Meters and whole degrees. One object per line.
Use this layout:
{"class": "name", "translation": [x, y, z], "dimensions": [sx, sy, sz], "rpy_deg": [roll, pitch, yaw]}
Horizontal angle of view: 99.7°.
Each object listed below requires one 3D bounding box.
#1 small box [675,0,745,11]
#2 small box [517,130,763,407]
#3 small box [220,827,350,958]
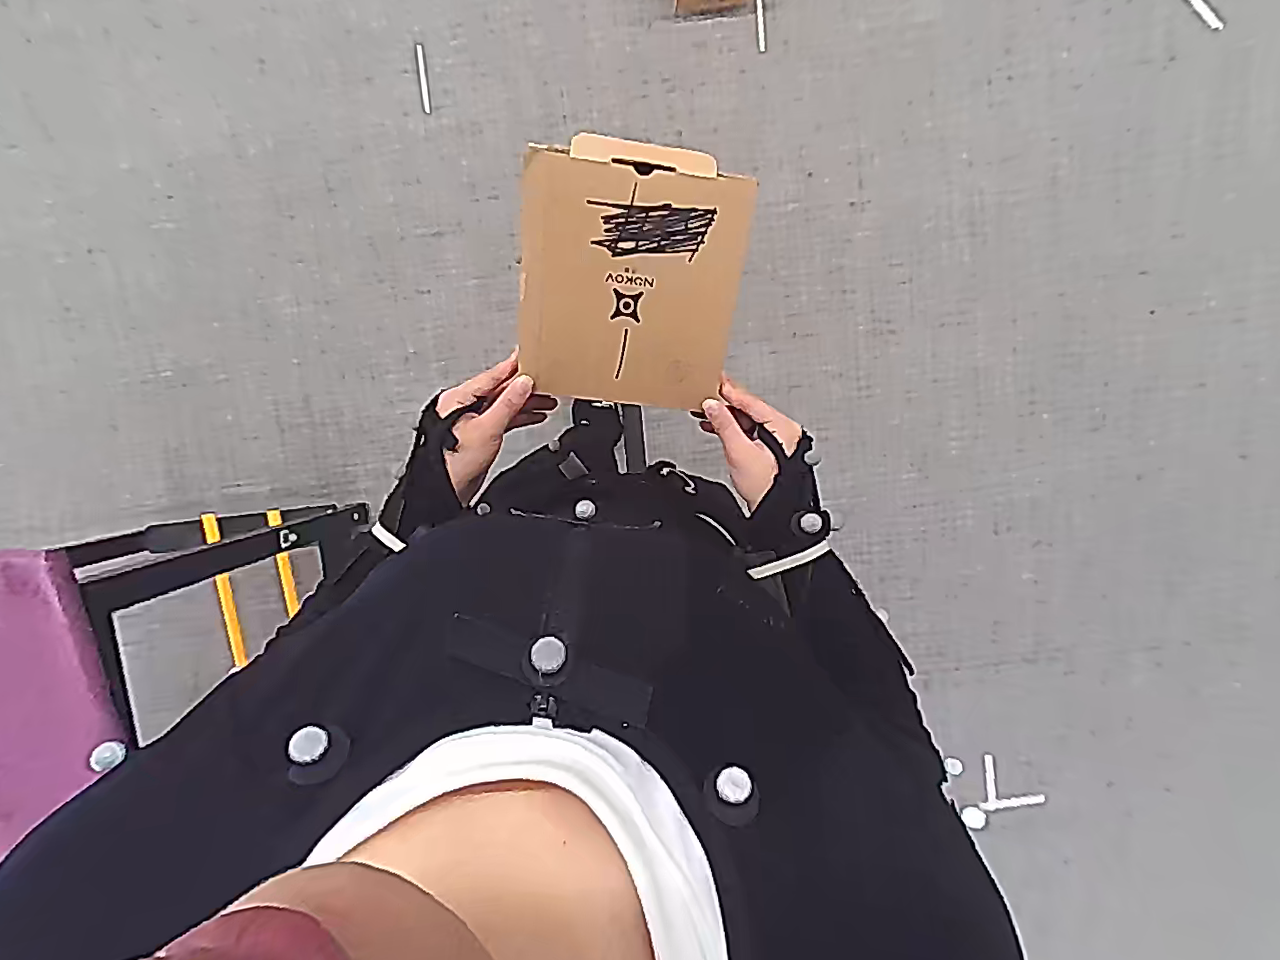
{"class": "small box", "translation": [0.156, -1.168, 1.162], "dimensions": [0.168, 0.176, 0.179], "rpy_deg": [-6, 96, 0]}
{"class": "small box", "translation": [-0.009, -0.179, 0.472], "dimensions": [0.168, 0.176, 0.179], "rpy_deg": [6, 115, -5]}
{"class": "small box", "translation": [-0.818, 0.953, 1.262], "dimensions": [0.179, 0.176, 0.168], "rpy_deg": [-9, 96, 0]}
